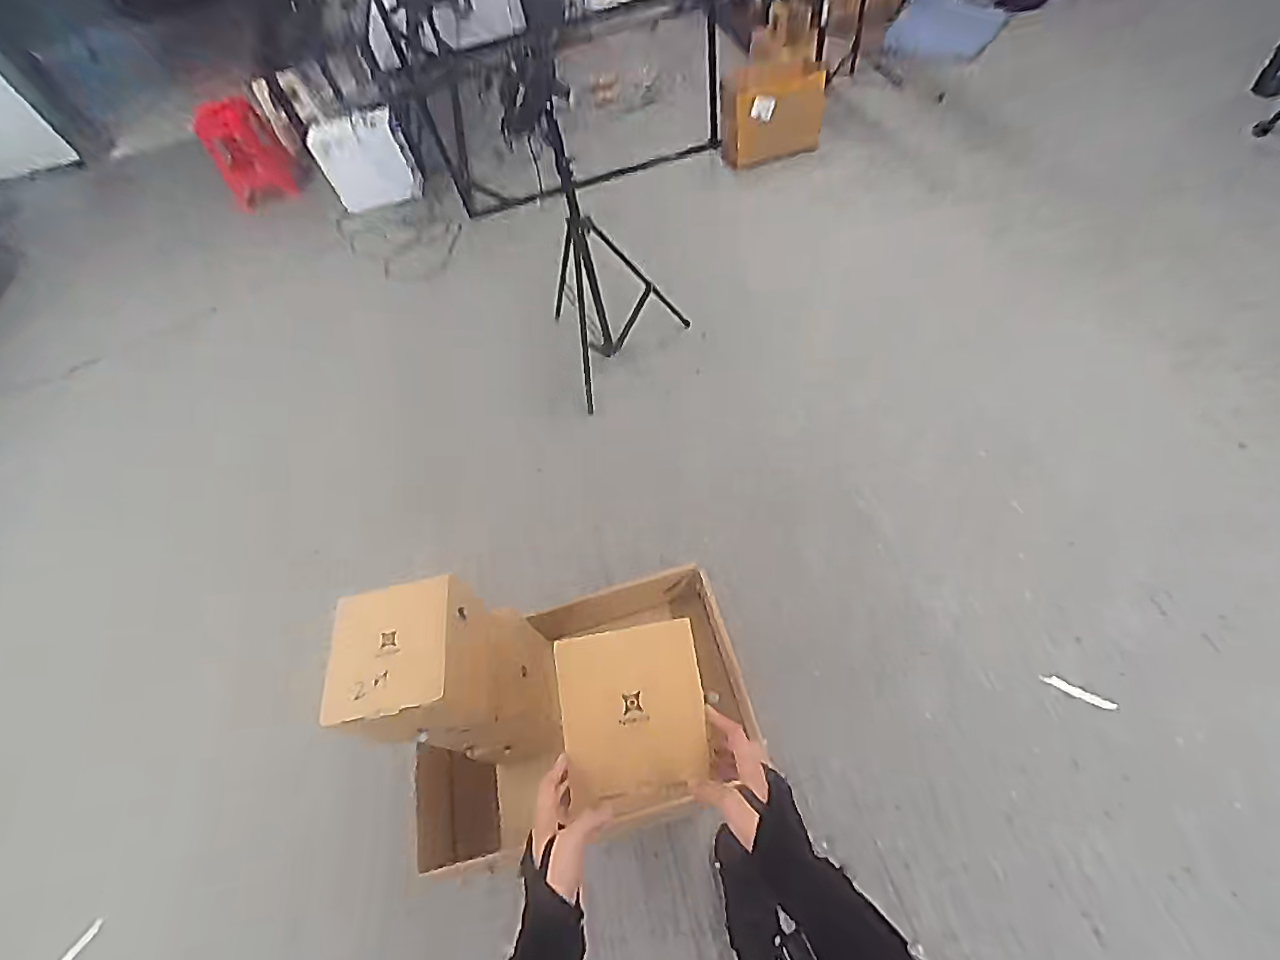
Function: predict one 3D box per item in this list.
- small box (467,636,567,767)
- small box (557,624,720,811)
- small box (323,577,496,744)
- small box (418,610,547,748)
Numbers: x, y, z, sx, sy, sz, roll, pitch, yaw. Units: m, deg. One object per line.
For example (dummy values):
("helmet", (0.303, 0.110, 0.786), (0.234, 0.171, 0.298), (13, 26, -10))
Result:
("small box", (-0.232, 0.436, 1.057), (0.168, 0.176, 0.179), (-19, 55, -2))
("small box", (-0.001, 0.289, 0.687), (0.168, 0.176, 0.179), (-10, 72, 1))
("small box", (-0.317, 0.266, 0.785), (0.168, 0.176, 0.179), (-13, 56, 2))
("small box", (-0.263, 0.346, 0.921), (0.168, 0.176, 0.179), (-13, 55, 2))
